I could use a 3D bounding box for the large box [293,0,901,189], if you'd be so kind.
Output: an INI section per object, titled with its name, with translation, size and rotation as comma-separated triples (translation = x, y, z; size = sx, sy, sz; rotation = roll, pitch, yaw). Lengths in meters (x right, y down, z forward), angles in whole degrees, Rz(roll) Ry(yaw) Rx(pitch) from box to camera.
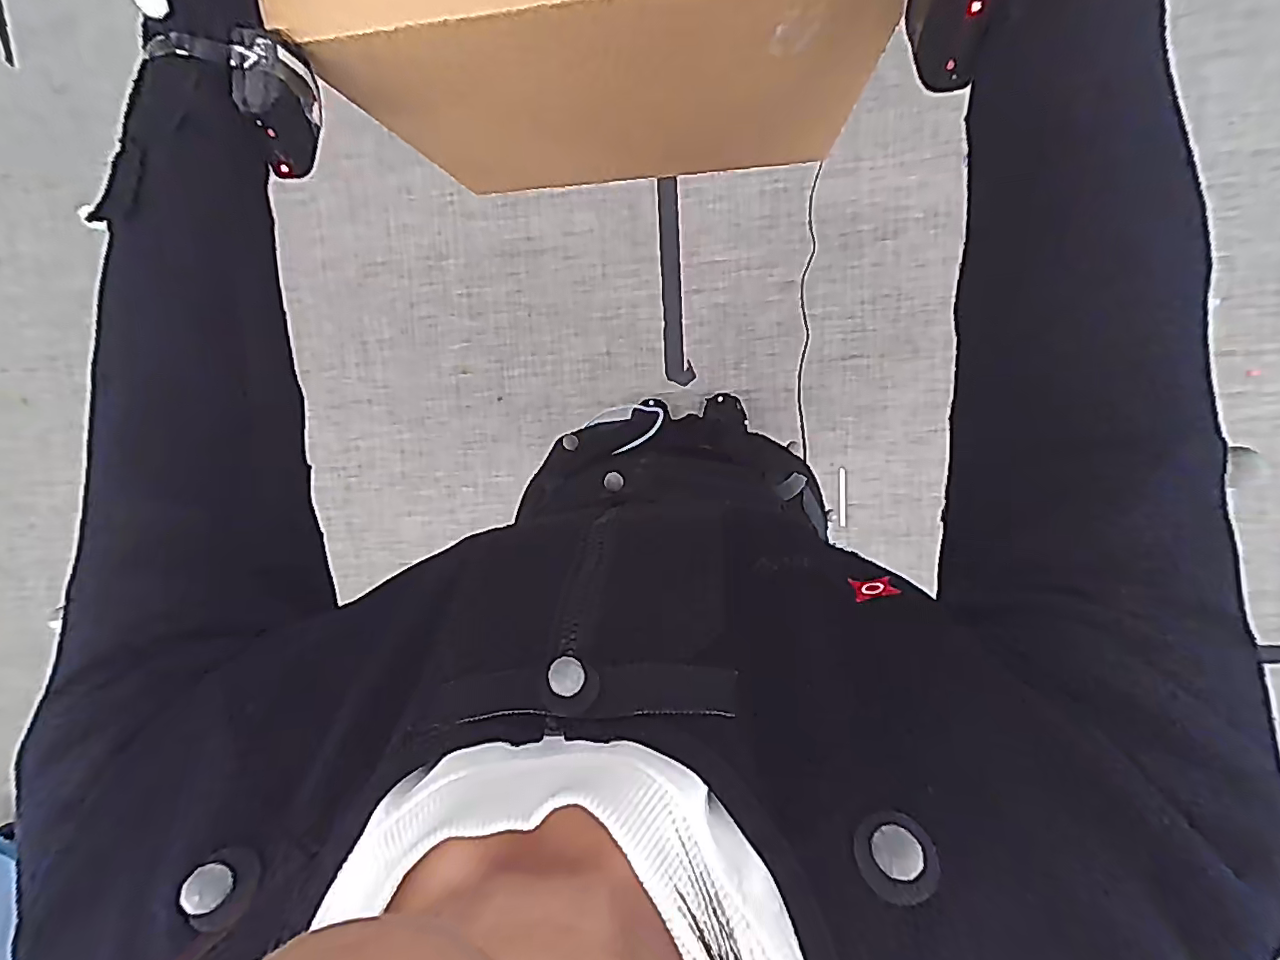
[large box]
translation = -0.021, -0.472, 0.444
size = 0.408, 0.320, 0.320
rotation = -2, 102, 7
